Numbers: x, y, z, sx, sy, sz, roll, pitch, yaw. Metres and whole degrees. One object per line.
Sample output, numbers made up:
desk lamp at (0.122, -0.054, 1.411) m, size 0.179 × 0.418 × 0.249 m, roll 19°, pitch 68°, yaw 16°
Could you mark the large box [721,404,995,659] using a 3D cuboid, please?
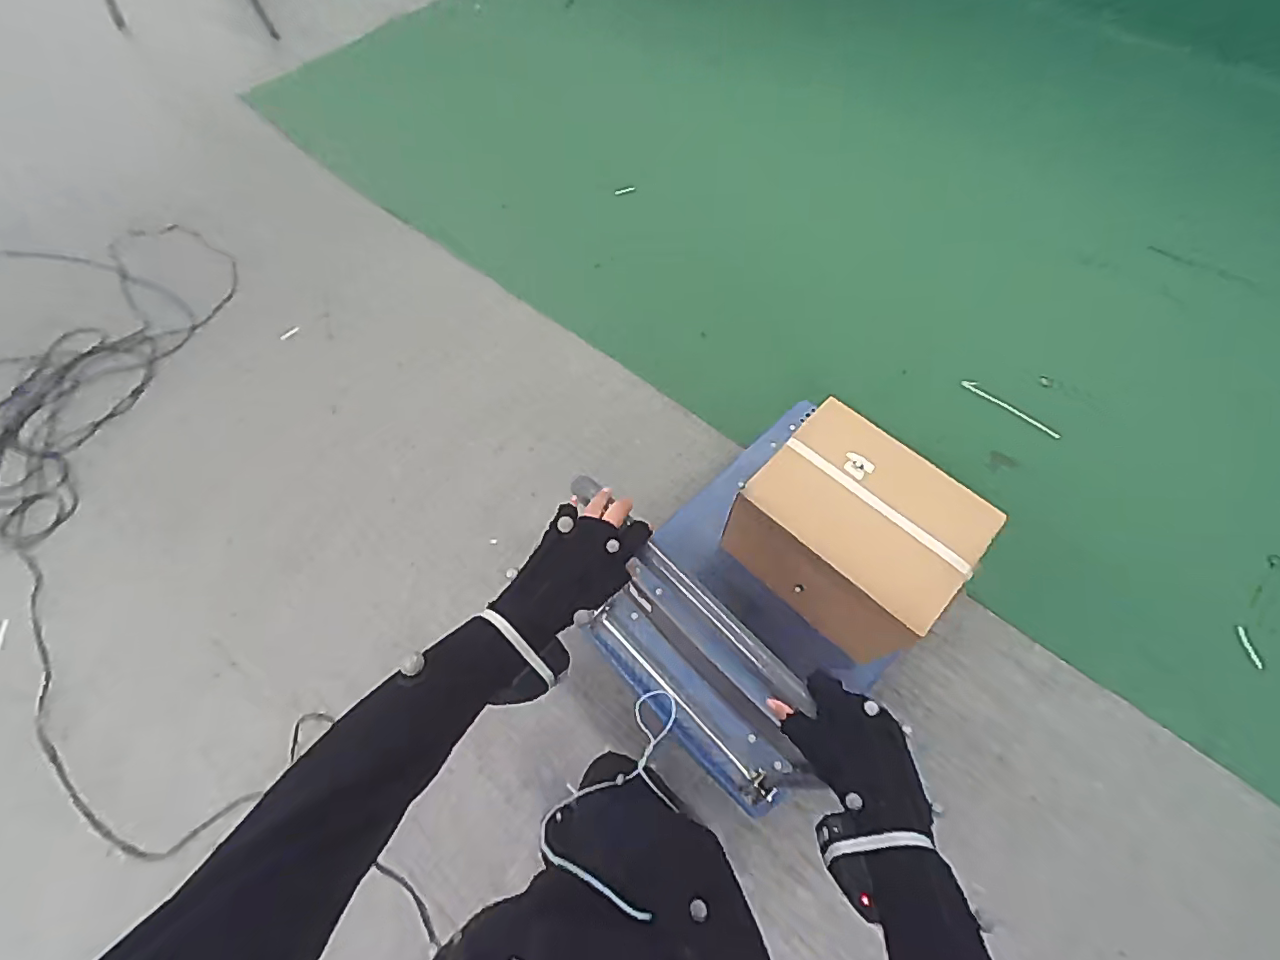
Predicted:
large box at (0.437, 0.119, 1.174) m, size 0.408 × 0.320 × 0.320 m, roll 39°, pitch 69°, yaw 19°
